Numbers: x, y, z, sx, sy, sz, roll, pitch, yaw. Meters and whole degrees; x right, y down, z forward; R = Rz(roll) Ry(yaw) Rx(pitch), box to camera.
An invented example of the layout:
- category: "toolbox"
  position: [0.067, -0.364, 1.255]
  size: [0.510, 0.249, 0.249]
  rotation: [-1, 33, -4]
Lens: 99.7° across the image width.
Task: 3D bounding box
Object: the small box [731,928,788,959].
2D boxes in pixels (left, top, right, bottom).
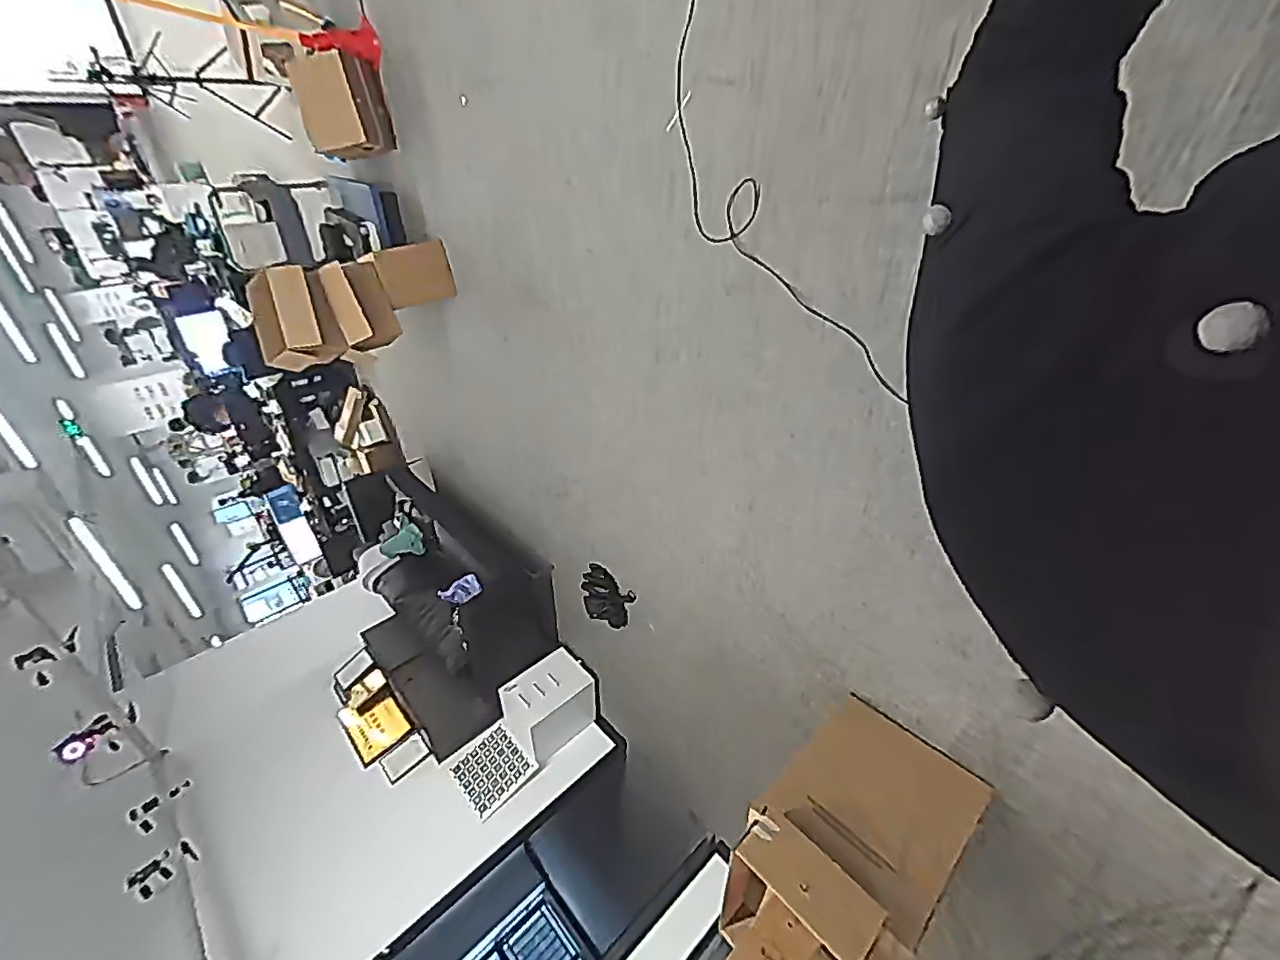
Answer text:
- category: "small box"
  position: [0.339, 1.430, 1.522]
  size: [0.168, 0.176, 0.179]
  rotation: [26, 131, 40]
